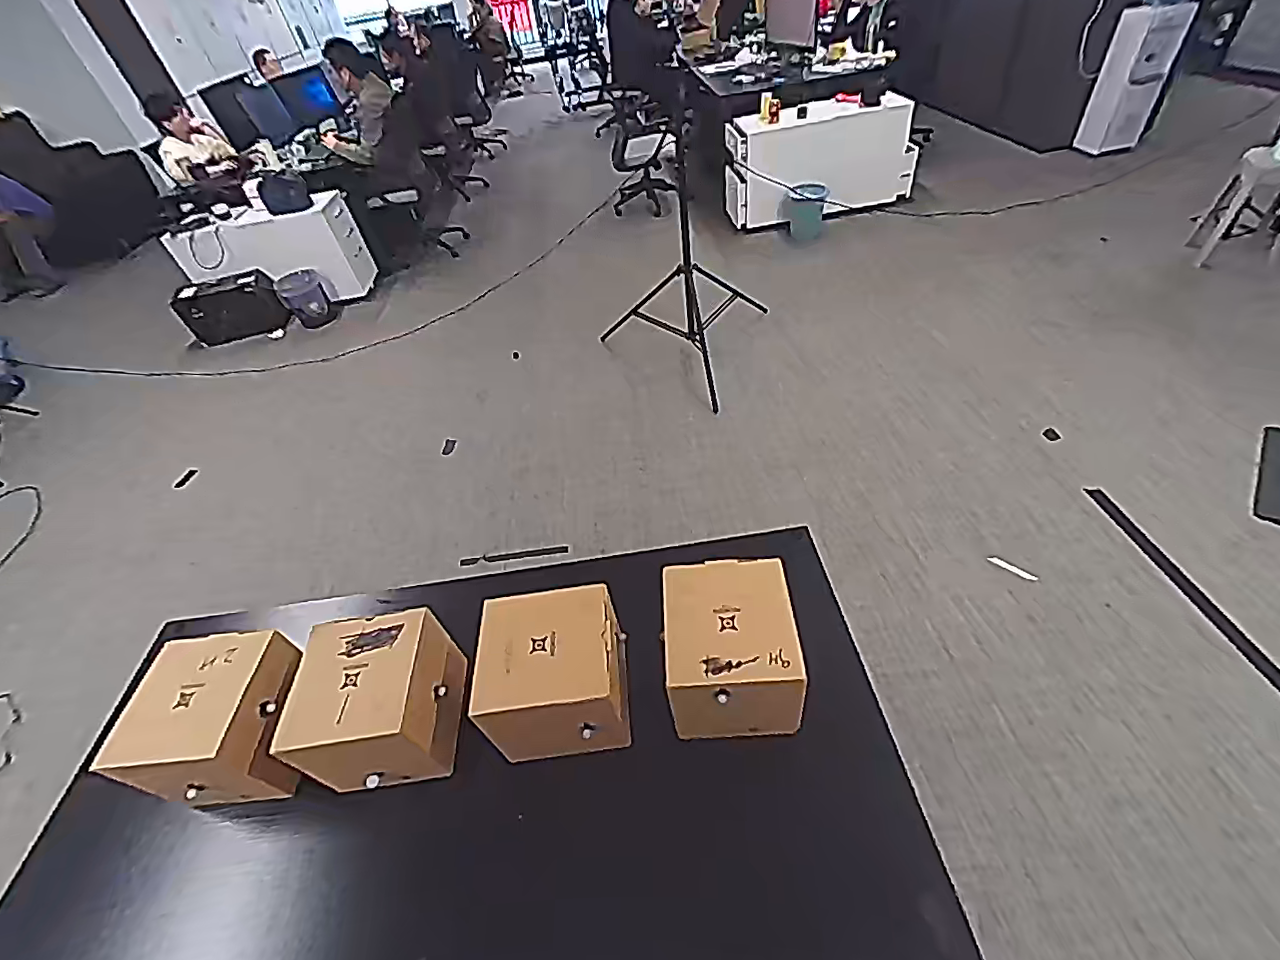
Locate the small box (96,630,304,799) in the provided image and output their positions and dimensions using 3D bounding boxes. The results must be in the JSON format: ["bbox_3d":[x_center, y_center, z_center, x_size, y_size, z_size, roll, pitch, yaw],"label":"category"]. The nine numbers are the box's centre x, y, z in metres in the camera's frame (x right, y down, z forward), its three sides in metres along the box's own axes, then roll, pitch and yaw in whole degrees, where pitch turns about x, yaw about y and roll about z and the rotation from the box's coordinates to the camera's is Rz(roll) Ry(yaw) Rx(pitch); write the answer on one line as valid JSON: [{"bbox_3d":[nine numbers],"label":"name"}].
[{"bbox_3d":[-0.585,0.341,0.775,0.168,0.176,0.179,-6,44,3],"label":"small box"}]

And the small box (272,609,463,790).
[{"bbox_3d":[-0.363,0.310,0.764,0.168,0.176,0.179,-9,46,0],"label":"small box"}]

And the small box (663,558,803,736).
[{"bbox_3d":[0.121,0.231,0.749,0.168,0.176,0.179,-6,44,6],"label":"small box"}]

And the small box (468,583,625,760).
[{"bbox_3d":[-0.117,0.271,0.760,0.179,0.176,0.168,-10,43,2],"label":"small box"}]
